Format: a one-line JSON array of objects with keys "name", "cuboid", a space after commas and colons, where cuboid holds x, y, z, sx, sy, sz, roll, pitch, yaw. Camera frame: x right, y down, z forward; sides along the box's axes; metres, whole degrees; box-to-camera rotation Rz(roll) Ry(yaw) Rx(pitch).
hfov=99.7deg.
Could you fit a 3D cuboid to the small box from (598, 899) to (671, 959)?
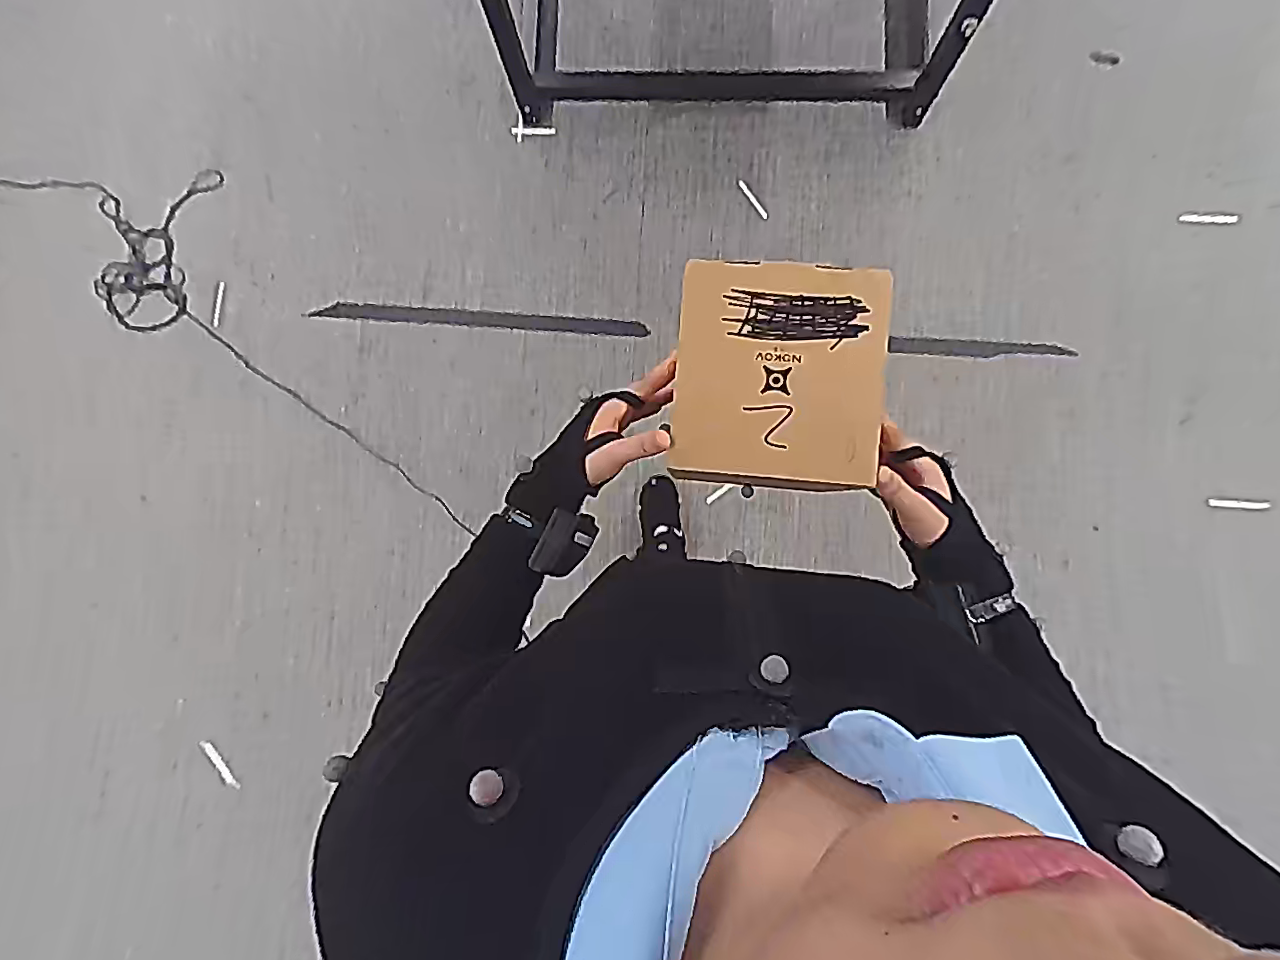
[{"name": "small box", "cuboid": [-0.008, 1.164, 1.307, 0.168, 0.176, 0.179, -2, 83, 2]}]
